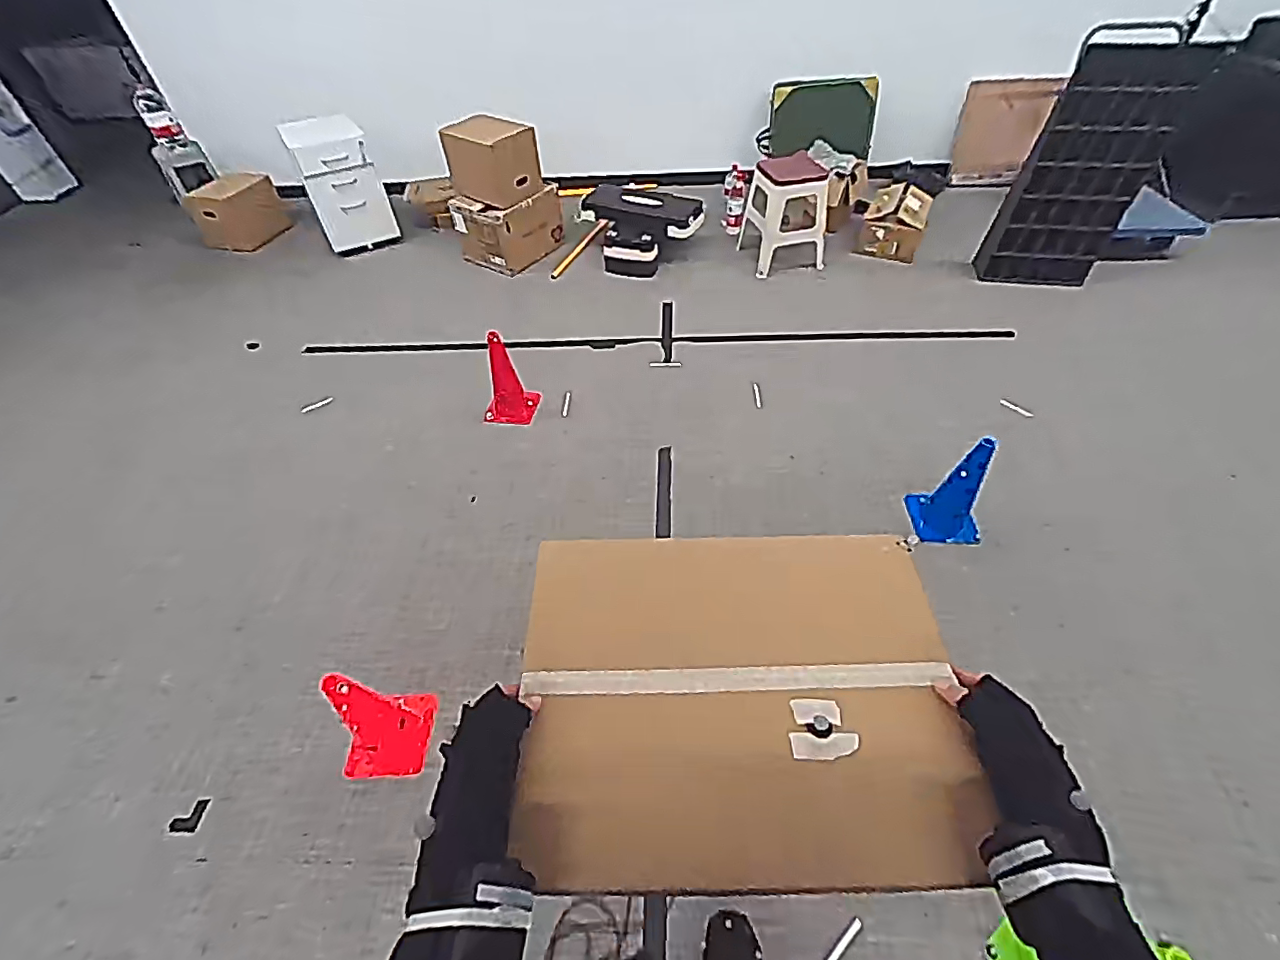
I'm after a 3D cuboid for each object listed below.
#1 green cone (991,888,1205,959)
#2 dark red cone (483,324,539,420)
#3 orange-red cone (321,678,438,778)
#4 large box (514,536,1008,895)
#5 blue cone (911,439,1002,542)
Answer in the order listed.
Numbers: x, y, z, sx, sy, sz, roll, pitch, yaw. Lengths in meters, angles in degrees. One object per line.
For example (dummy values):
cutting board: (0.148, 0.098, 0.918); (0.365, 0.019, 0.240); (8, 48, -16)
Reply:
green cone: (0.823, 0.842, 0.930); (0.202, 0.368, 0.200); (-28, 53, -23)
dark red cone: (-0.536, -0.428, 2.123); (0.201, 0.394, 0.202); (5, 49, 6)
orange-red cone: (-0.647, 0.554, 1.278); (0.198, 0.360, 0.199); (-3, 49, 2)
large box: (0.093, 0.282, 0.633); (0.408, 0.320, 0.320); (-1, 53, 0)
blue cone: (1.012, 0.019, 1.684); (0.192, 0.380, 0.193); (3, 48, 4)
